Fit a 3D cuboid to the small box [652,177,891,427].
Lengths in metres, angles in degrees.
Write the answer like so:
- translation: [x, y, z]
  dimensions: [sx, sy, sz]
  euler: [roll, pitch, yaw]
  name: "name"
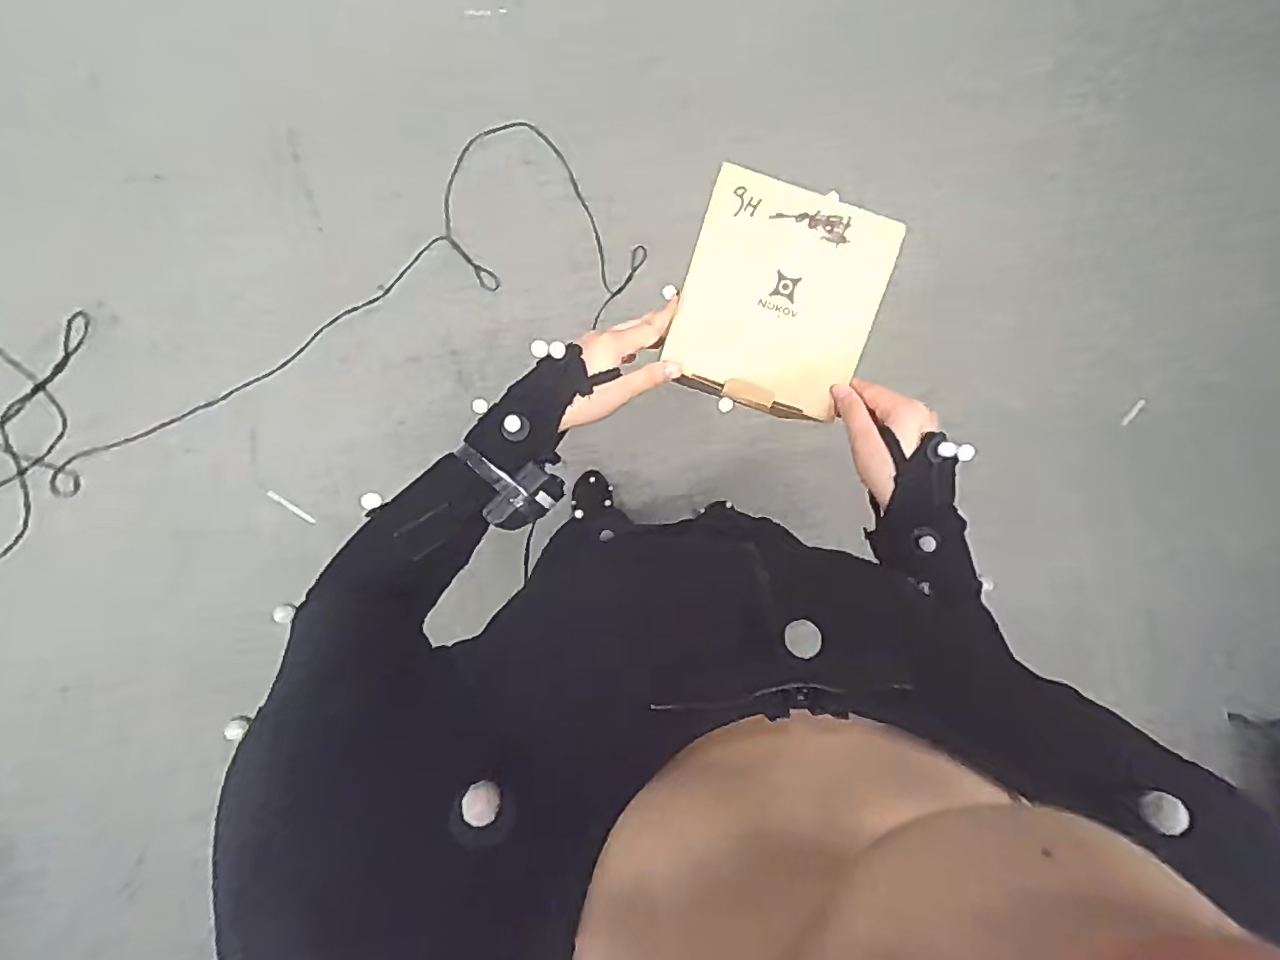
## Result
- translation: [0.114, -0.165, 0.548]
  dimensions: [0.168, 0.176, 0.179]
  euler: [16, 100, -3]
  name: "small box"
